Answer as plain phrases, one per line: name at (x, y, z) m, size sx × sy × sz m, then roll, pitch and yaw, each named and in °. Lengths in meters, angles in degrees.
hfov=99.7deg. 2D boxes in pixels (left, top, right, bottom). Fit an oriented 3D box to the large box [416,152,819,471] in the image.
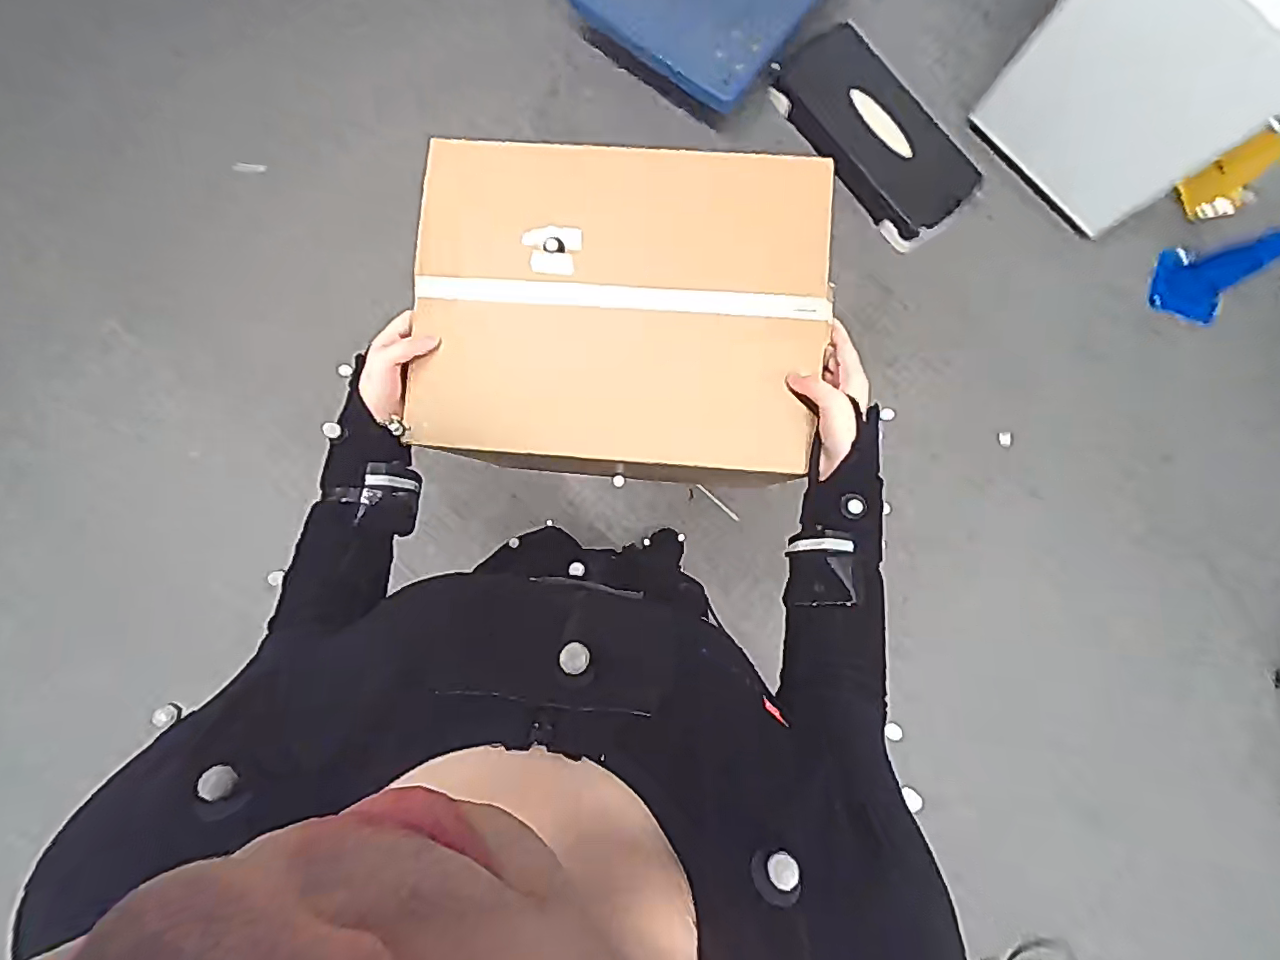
large box at (-0.014, -0.175, 0.692) m, size 0.408 × 0.320 × 0.320 m, roll 3°, pitch 87°, yaw 4°
